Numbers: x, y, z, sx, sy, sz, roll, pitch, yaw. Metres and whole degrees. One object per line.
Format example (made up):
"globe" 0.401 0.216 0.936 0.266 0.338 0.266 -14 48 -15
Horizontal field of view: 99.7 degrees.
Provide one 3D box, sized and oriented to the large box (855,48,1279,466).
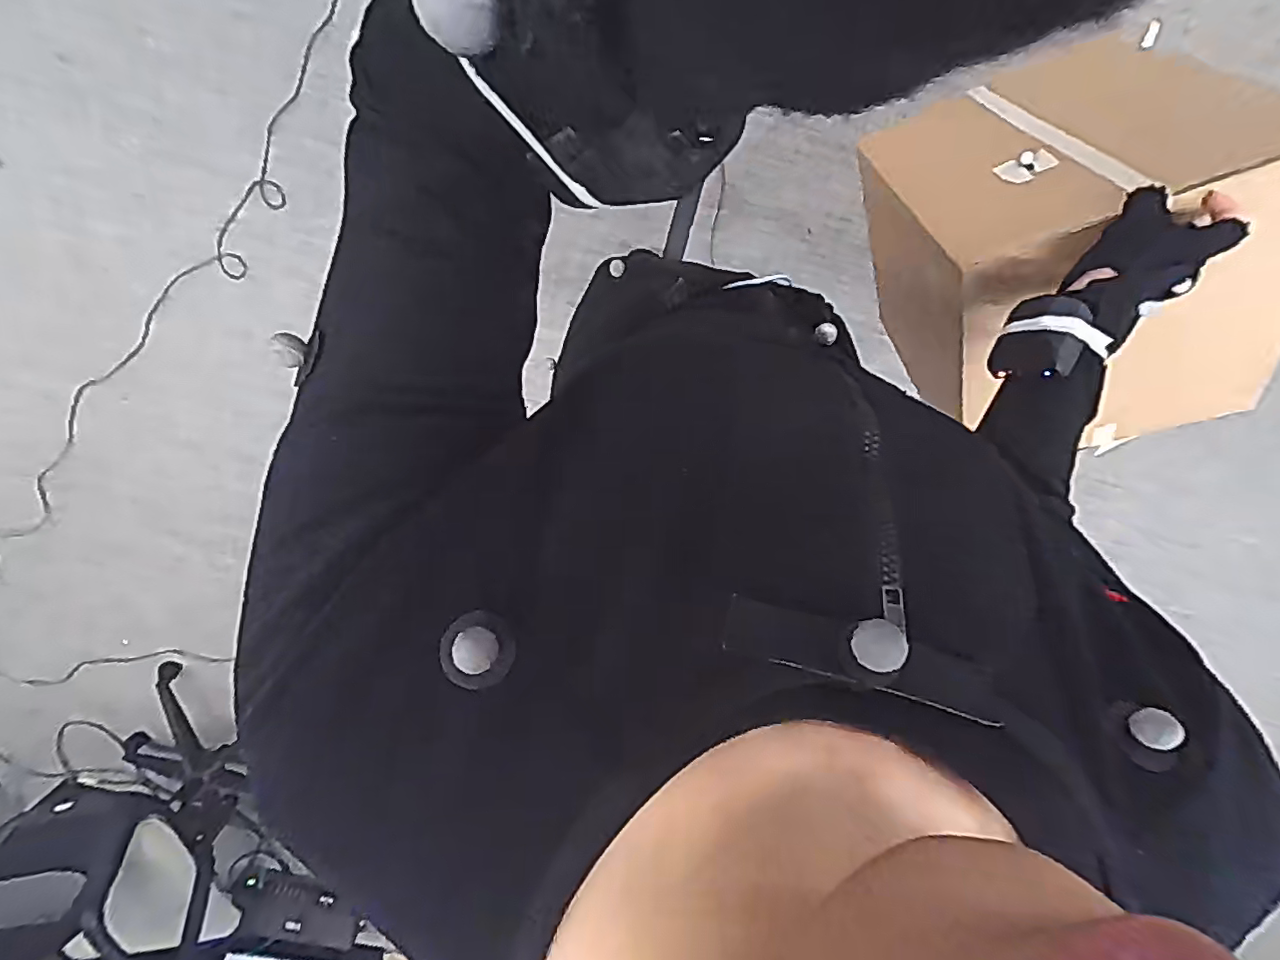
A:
"large box" 0.510 -0.290 0.719 0.320 0.408 0.320 -16 136 17
